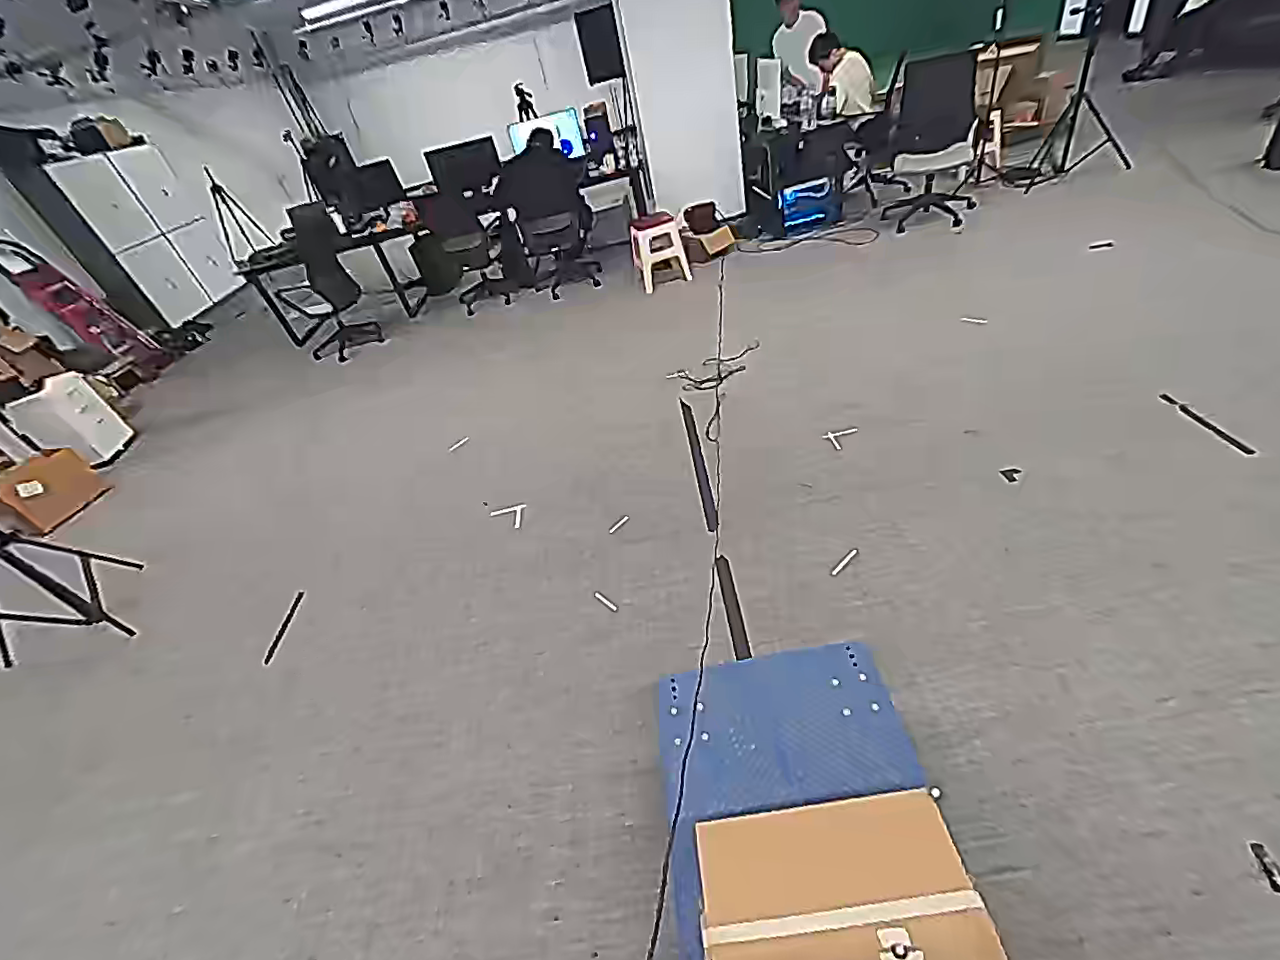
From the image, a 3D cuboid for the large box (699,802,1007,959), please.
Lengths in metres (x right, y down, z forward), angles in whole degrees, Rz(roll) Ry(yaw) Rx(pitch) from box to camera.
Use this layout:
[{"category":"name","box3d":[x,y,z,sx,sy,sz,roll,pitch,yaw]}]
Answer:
[{"category":"large box","box3d":[0.333,0.778,0.874,0.408,0.320,0.320,-12,38,5]}]
